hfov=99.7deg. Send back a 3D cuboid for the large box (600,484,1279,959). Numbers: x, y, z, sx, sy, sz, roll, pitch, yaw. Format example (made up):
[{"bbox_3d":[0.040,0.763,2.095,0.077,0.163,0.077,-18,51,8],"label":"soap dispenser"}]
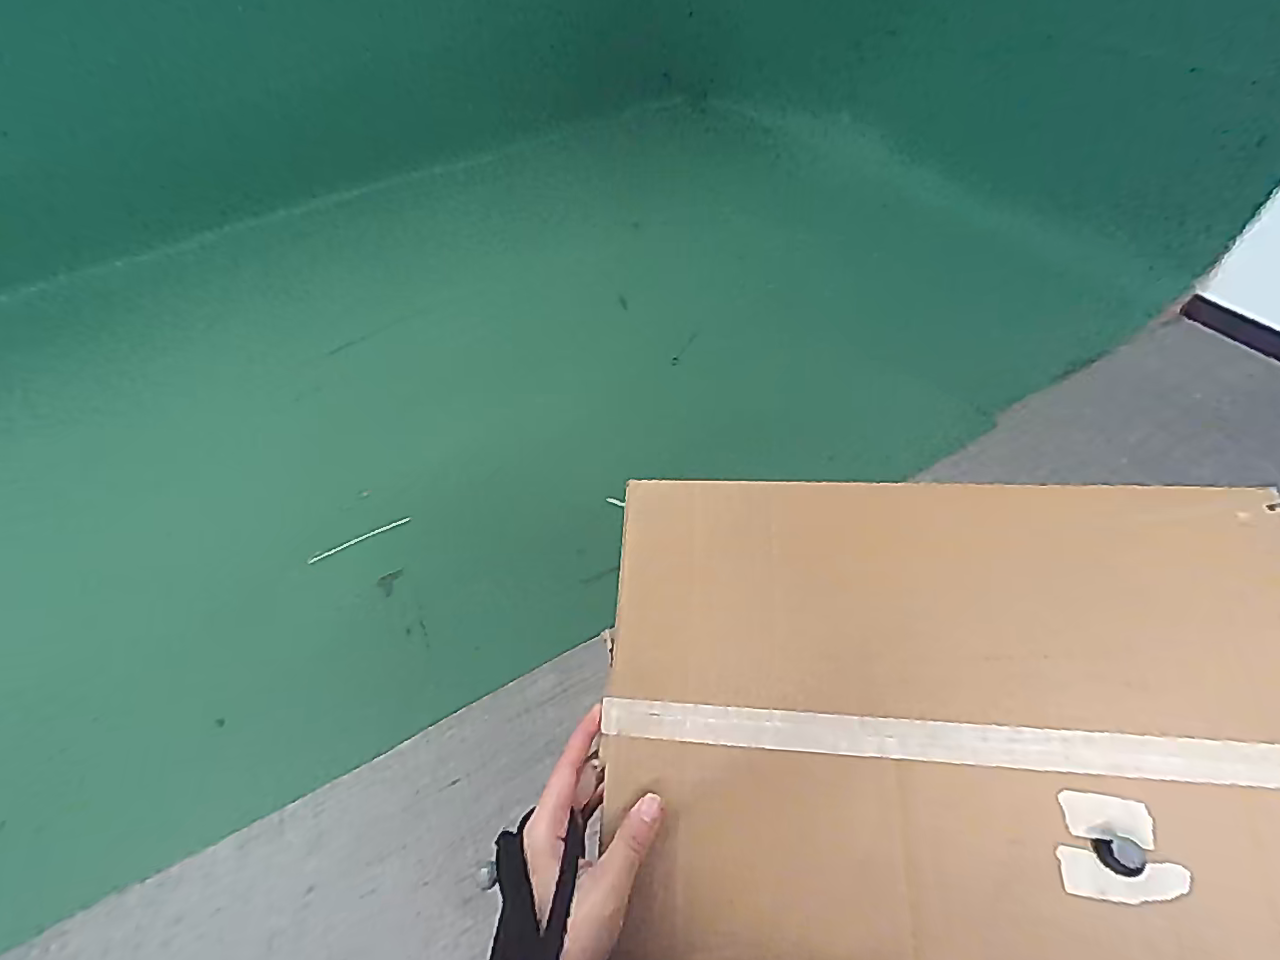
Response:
[{"bbox_3d":[0.194,0.202,0.459,0.408,0.320,0.320,0,69,7],"label":"large box"}]
